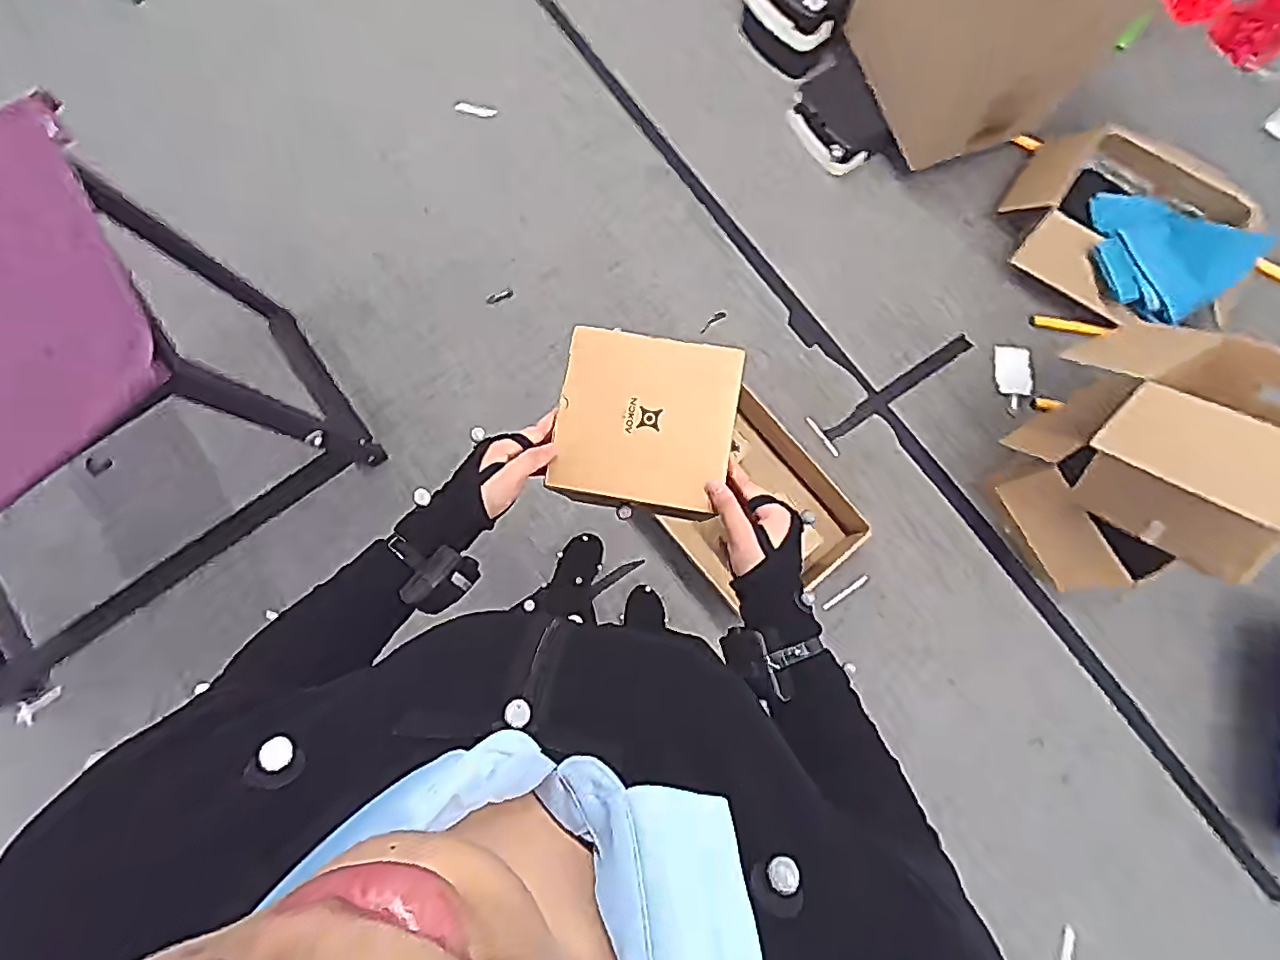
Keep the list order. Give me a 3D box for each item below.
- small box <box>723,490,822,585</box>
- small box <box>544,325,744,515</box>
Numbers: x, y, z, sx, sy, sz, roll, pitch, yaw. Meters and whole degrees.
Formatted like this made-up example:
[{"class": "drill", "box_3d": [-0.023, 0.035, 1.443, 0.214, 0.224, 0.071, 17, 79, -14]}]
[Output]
[{"class": "small box", "box_3d": [0.328, 0.152, 1.387, 0.179, 0.176, 0.168, -38, 82, -6]}, {"class": "small box", "box_3d": [0.008, -0.054, 0.603, 0.179, 0.176, 0.168, 8, 84, 4]}]
